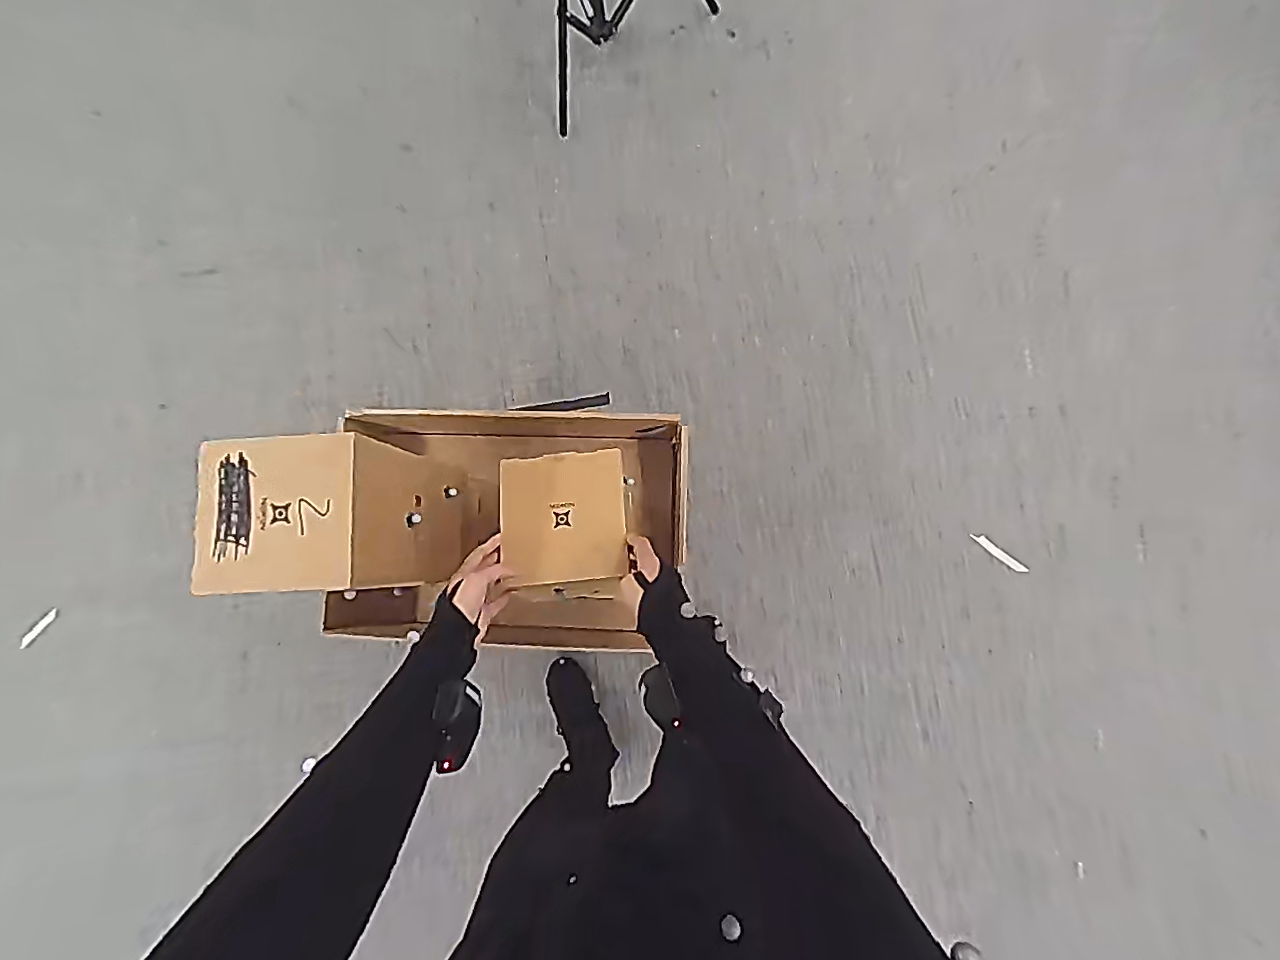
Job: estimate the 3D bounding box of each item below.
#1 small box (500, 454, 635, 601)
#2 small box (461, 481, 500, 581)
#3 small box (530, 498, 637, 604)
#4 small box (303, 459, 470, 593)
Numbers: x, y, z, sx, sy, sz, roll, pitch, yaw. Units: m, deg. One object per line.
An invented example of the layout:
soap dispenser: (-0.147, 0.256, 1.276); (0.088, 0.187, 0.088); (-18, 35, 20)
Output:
small box: (-0.098, 0.078, 0.780); (0.168, 0.176, 0.179); (-6, 71, 1)
small box: (-0.346, 0.094, 0.967); (0.179, 0.176, 0.168); (-1, 83, 2)
small box: (-0.092, 0.121, 0.952); (0.168, 0.176, 0.179); (-1, 82, 3)
small box: (-0.364, 0.072, 0.805); (0.168, 0.176, 0.179); (-4, 82, 4)
